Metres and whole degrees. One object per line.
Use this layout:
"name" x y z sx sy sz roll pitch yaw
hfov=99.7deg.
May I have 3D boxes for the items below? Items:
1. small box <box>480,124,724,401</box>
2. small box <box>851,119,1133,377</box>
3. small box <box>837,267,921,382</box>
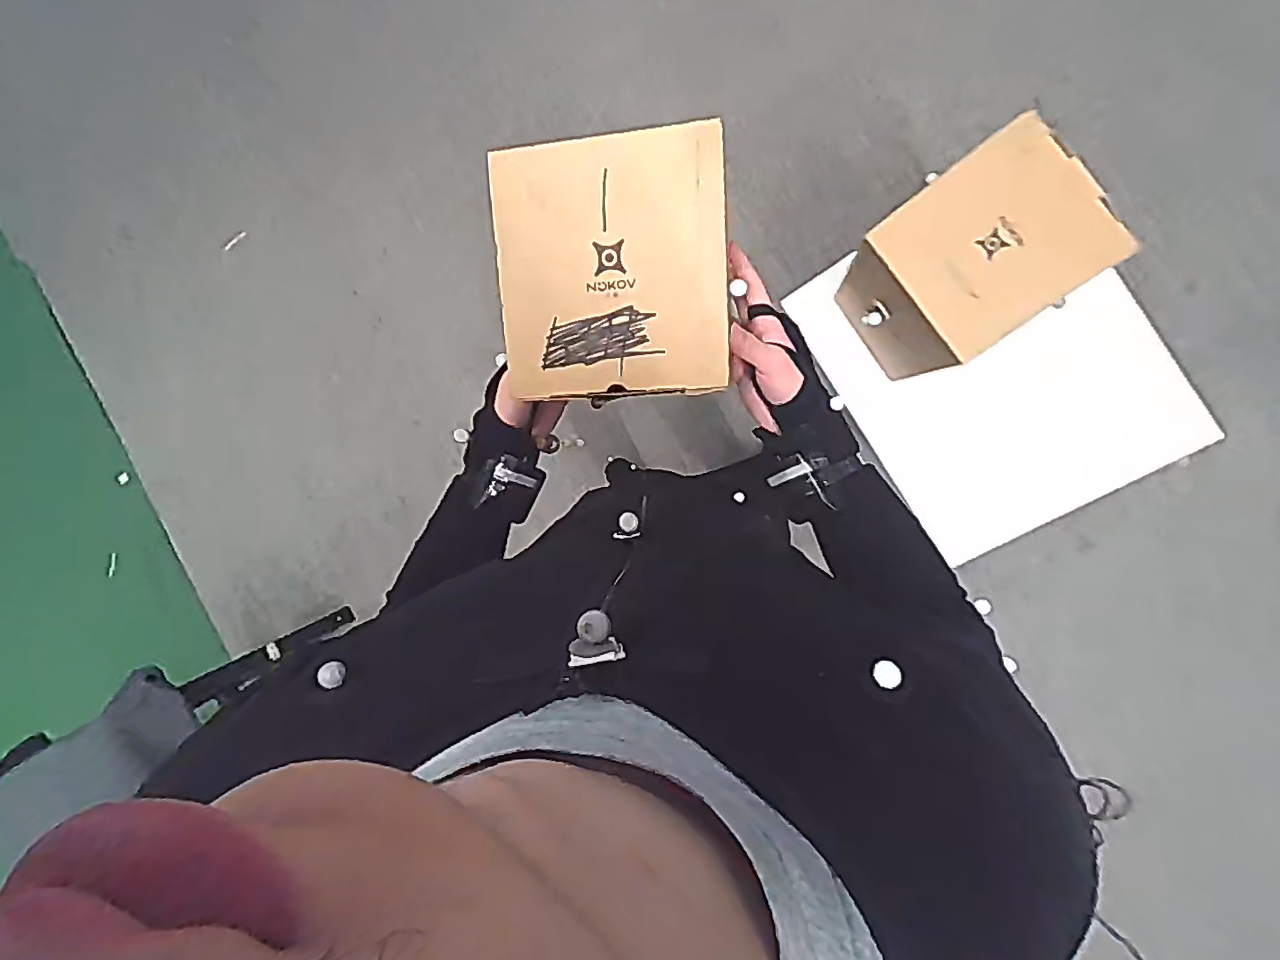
"small box" -0.016 -0.161 0.459 0.168 0.176 0.179 -1 99 11
"small box" 0.358 -0.231 0.594 0.179 0.176 0.168 -36 87 16
"small box" 0.399 -0.253 0.750 0.179 0.176 0.168 -33 89 15
